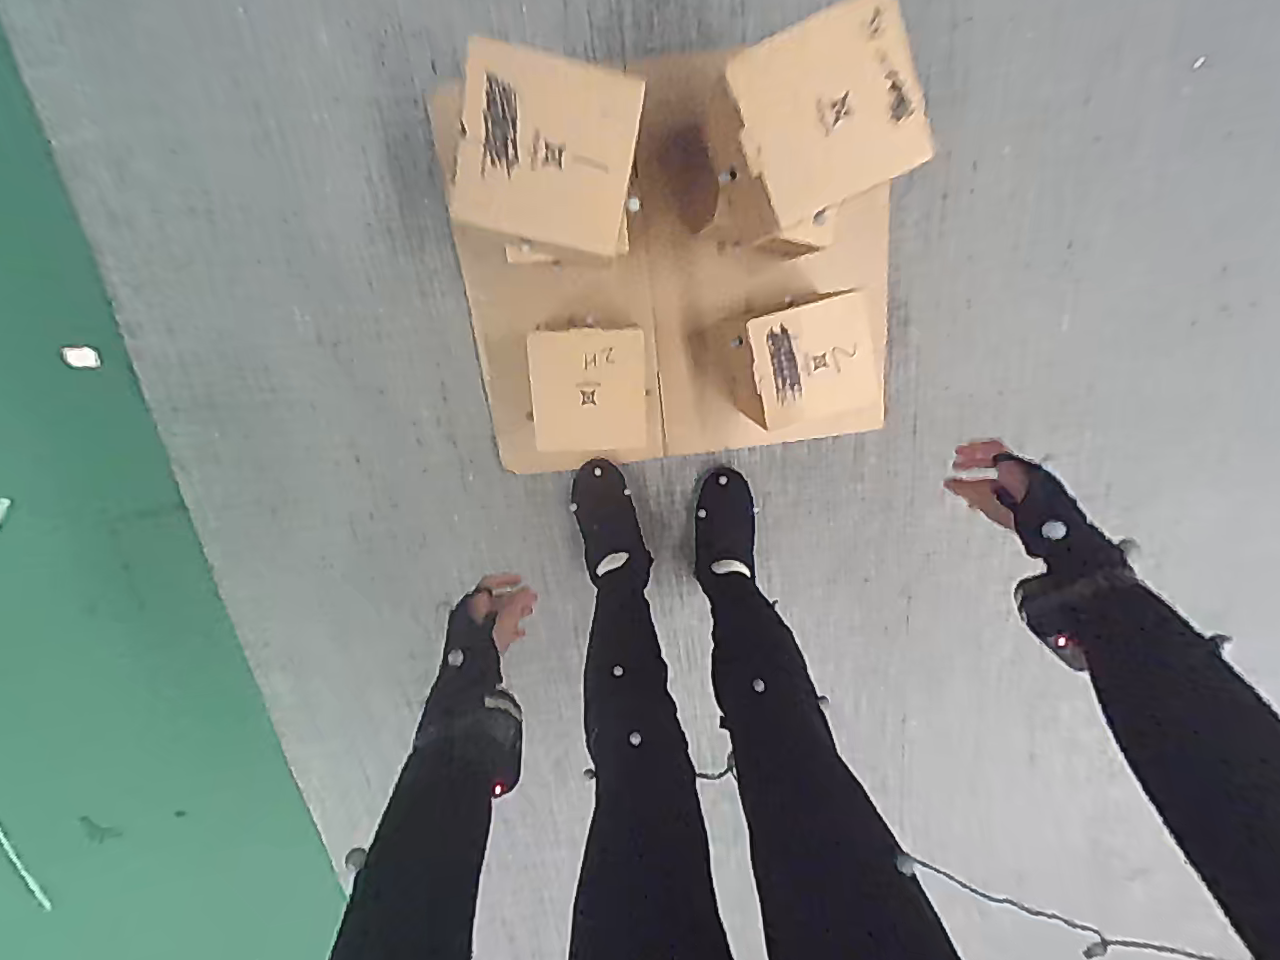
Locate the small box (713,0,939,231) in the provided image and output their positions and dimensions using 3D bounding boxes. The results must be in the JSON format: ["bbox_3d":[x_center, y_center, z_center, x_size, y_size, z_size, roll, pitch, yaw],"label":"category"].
[{"bbox_3d":[0.191,-0.402,0.609,0.179,0.176,0.168,-23,107,5],"label":"small box"}]

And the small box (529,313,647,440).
[{"bbox_3d":[-0.074,-0.168,0.846,0.168,0.176,0.179,-2,108,-3],"label":"small box"}]

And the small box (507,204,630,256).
[{"bbox_3d":[-0.102,-0.418,0.765,0.168,0.176,0.179,-6,107,-1],"label":"small box"}]

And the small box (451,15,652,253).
[{"bbox_3d":[-0.094,-0.365,0.610,0.179,0.176,0.168,11,107,-7],"label":"small box"}]

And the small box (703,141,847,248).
[{"bbox_3d":[0.195,-0.446,0.767,0.168,0.176,0.179,11,107,-6],"label":"small box"}]
